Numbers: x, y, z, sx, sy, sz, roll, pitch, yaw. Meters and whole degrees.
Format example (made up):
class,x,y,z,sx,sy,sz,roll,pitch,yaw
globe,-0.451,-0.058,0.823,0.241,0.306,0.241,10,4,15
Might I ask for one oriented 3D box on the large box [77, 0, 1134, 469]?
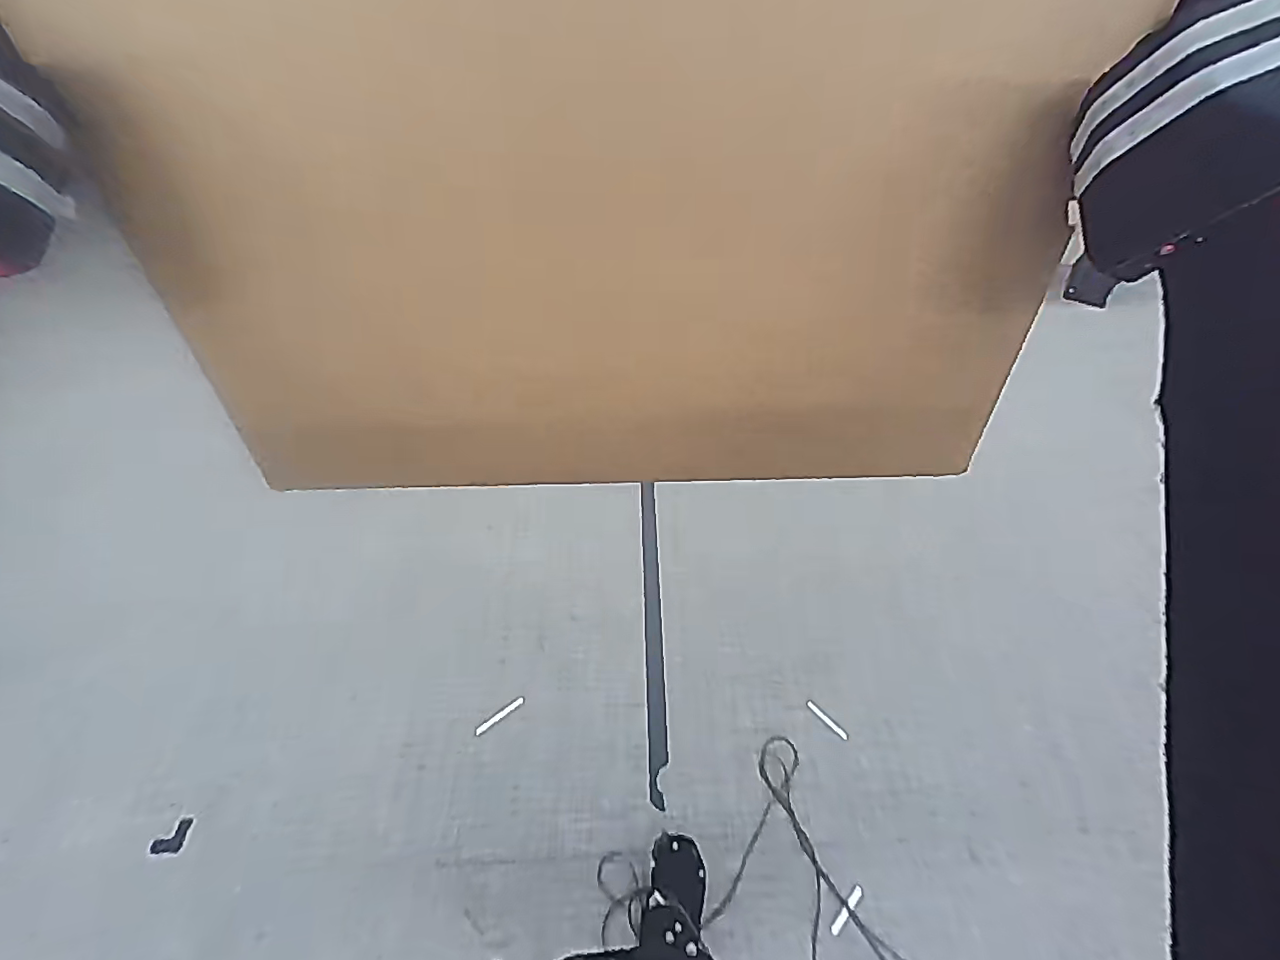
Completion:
class,x,y,z,sx,sy,sz,roll,pitch,yaw
large box,-0.014,-0.219,0.353,0.408,0.320,0.320,-1,39,-1
